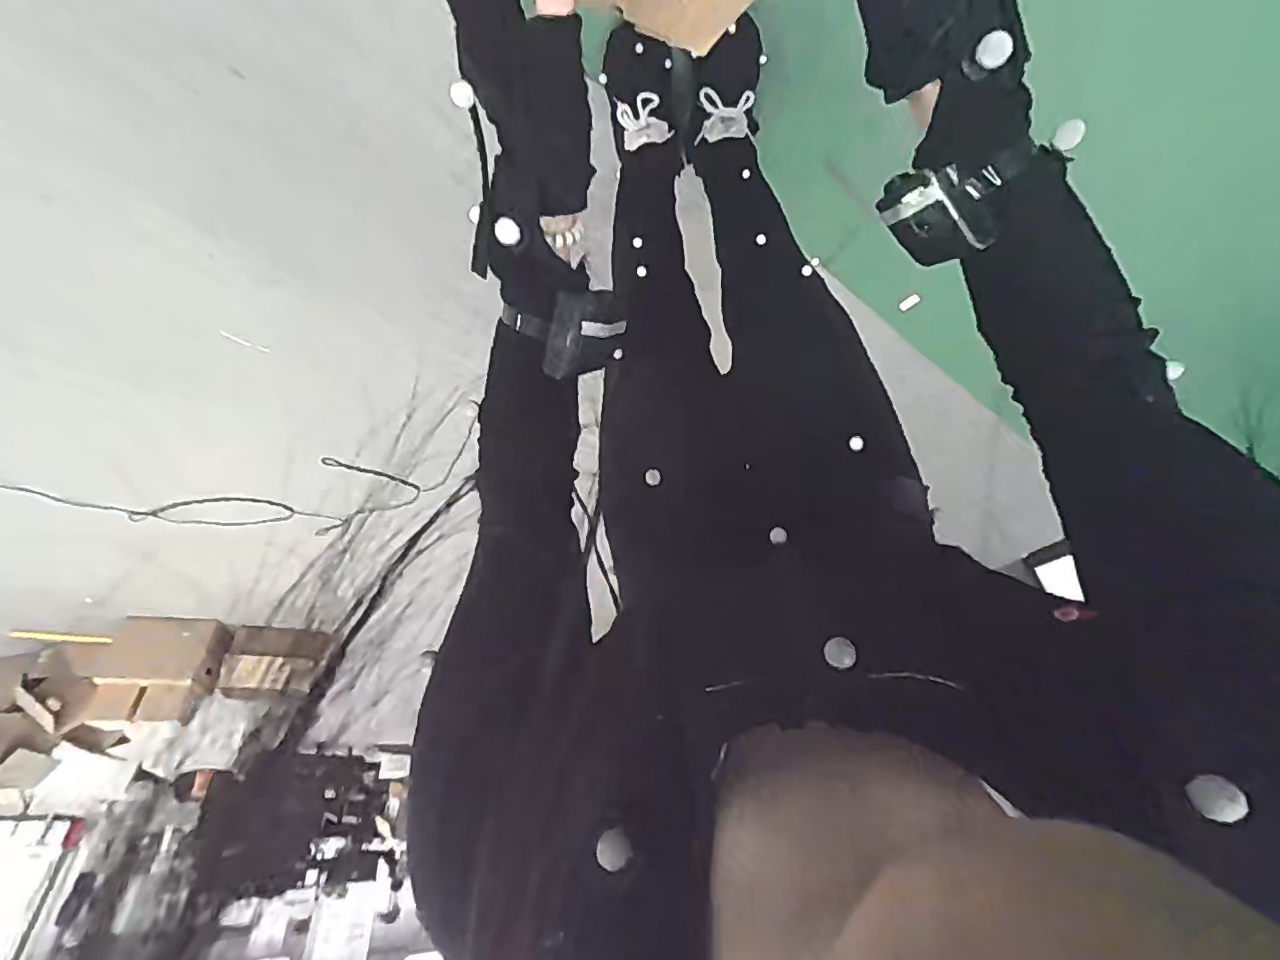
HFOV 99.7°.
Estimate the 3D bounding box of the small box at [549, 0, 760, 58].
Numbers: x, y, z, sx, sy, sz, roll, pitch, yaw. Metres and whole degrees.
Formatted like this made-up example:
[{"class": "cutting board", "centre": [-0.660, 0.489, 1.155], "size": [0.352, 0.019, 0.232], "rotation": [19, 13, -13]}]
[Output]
[{"class": "small box", "centre": [0.011, -0.337, 0.222], "size": [0.168, 0.176, 0.179], "rotation": [-25, -174, -43]}]
